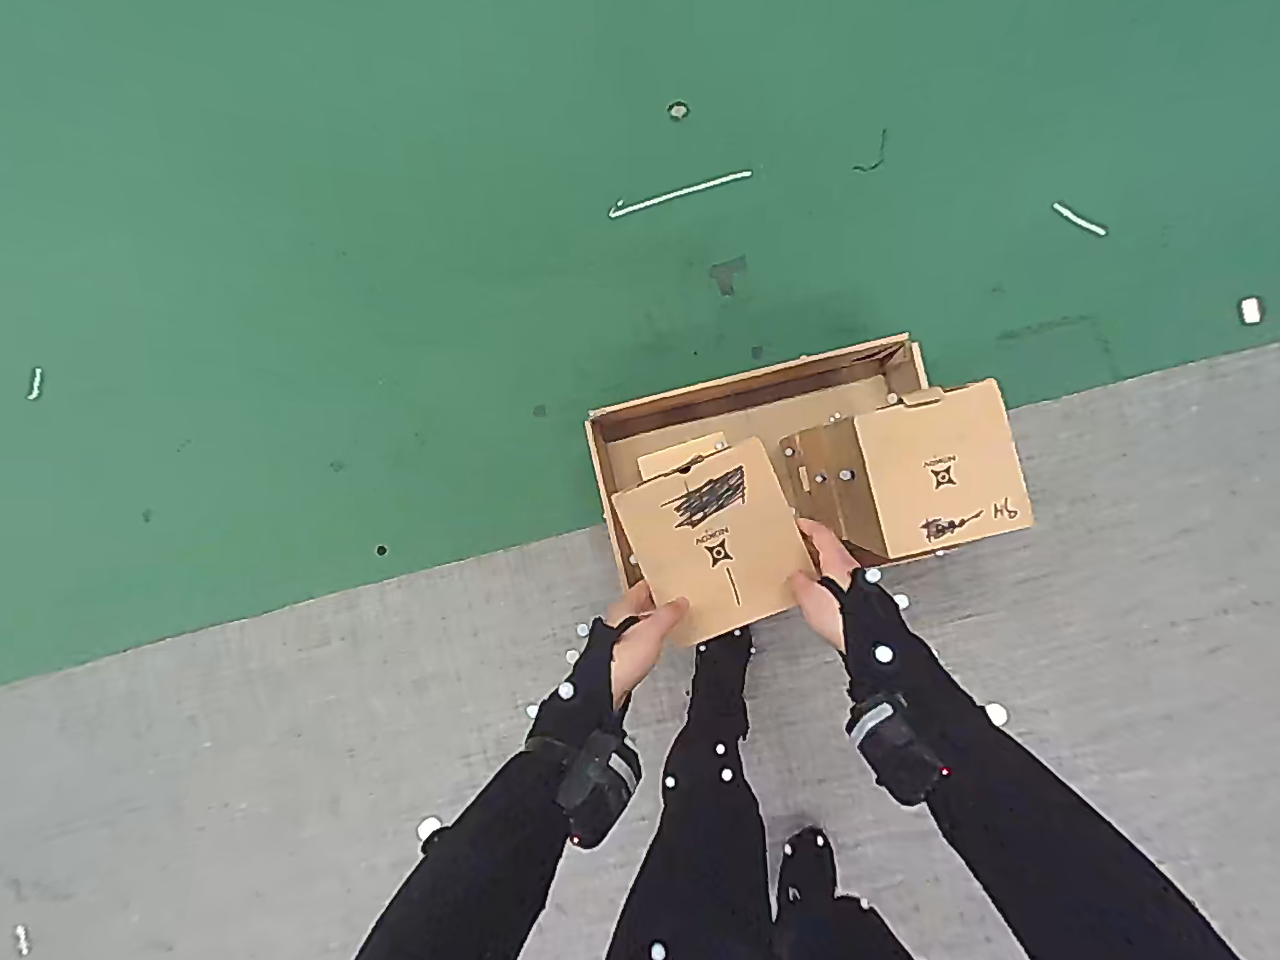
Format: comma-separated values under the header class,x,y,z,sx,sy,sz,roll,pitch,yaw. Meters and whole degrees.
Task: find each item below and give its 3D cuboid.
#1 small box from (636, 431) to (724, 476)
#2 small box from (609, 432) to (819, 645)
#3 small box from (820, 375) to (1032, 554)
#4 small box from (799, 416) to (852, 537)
class,x,y,z,sx,sy,sz,roll,pitch,yaw
small box,0.096,0.018,1.042,0.168,0.176,0.179,-18,89,4
small box,0.080,0.060,0.628,0.168,0.176,0.179,-24,89,6
small box,0.346,-0.015,0.691,0.168,0.176,0.179,-14,88,5
small box,0.361,-0.017,0.855,0.168,0.176,0.179,-12,90,6
